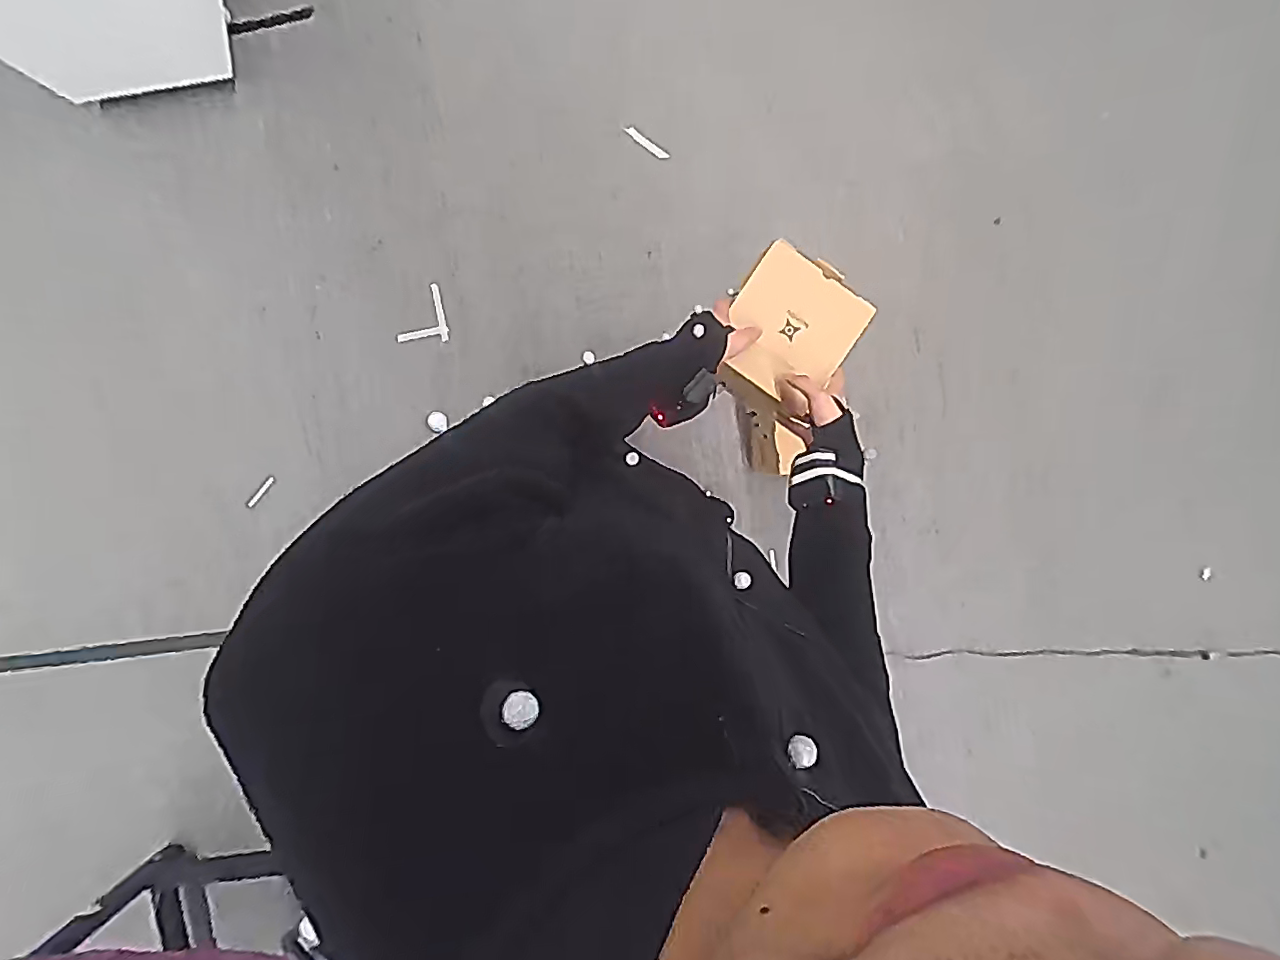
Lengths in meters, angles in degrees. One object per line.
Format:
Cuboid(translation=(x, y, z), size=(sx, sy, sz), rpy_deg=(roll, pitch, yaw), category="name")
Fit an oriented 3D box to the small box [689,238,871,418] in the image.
Cuboid(translation=(0.187, -0.206, 0.787), size=(0.168, 0.176, 0.179), rpy_deg=(34, 92, -6), category="small box")
